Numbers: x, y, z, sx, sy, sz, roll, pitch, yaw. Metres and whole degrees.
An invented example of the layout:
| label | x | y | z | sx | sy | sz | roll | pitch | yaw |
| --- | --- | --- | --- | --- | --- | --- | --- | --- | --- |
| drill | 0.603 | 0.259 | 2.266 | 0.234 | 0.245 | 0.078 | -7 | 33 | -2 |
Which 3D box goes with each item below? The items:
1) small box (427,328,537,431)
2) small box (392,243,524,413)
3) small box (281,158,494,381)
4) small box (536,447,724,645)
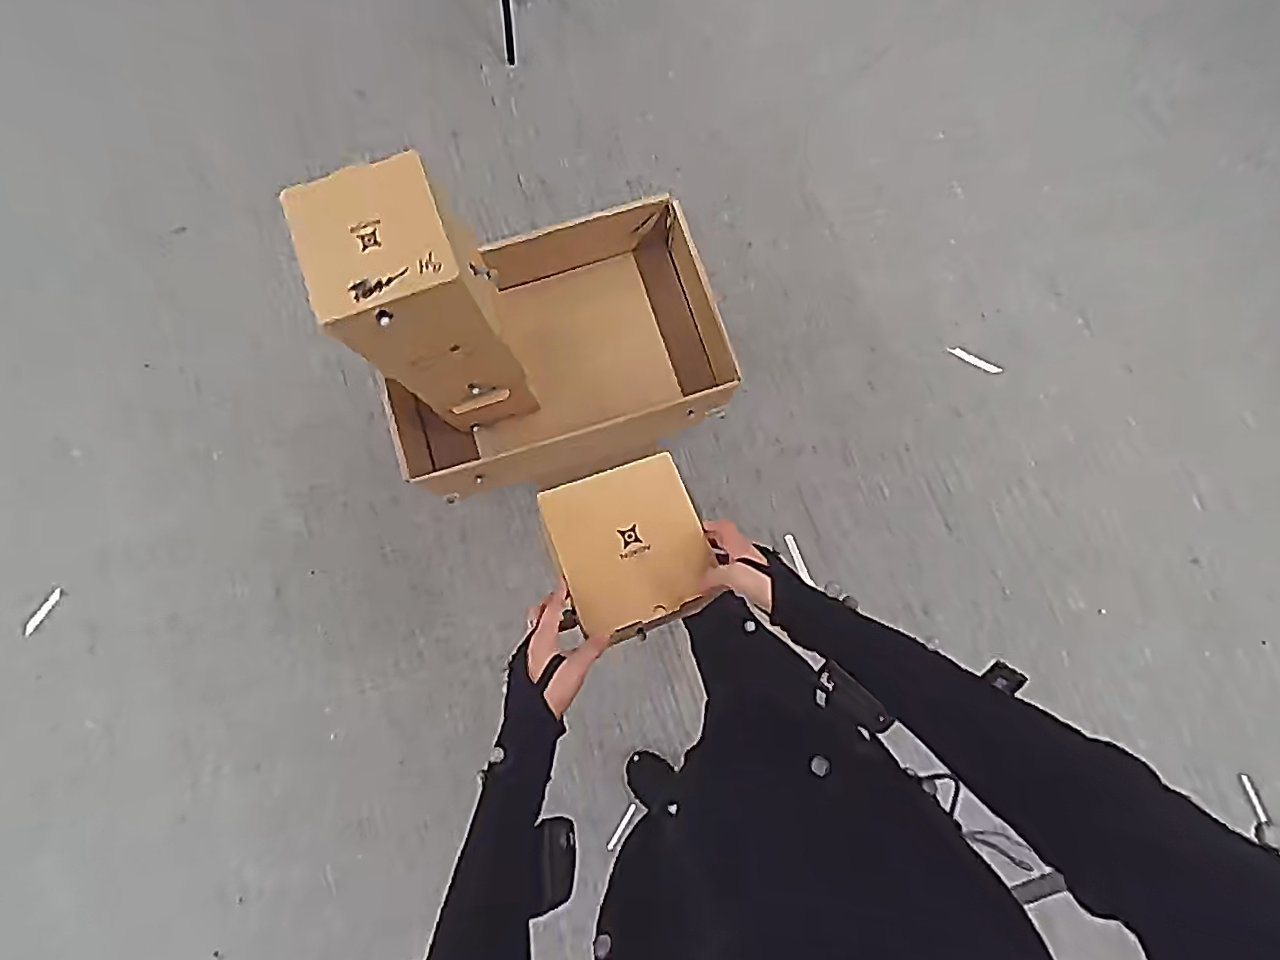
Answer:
| label | x | y | z | sx | sy | sz | roll | pitch | yaw |
| --- | --- | --- | --- | --- | --- | --- | --- | --- | --- |
| small box | -0.304 | -0.202 | 1.010 | 0.168 | 0.176 | 0.179 | -19 | 80 | -3 |
| small box | -0.297 | -0.227 | 0.847 | 0.168 | 0.176 | 0.179 | -20 | 81 | -3 |
| small box | -0.305 | -0.253 | 0.685 | 0.168 | 0.176 | 0.179 | -20 | 80 | -3 |
| small box | -0.022 | 0.089 | 0.671 | 0.168 | 0.176 | 0.179 | -19 | 73 | -12 |
